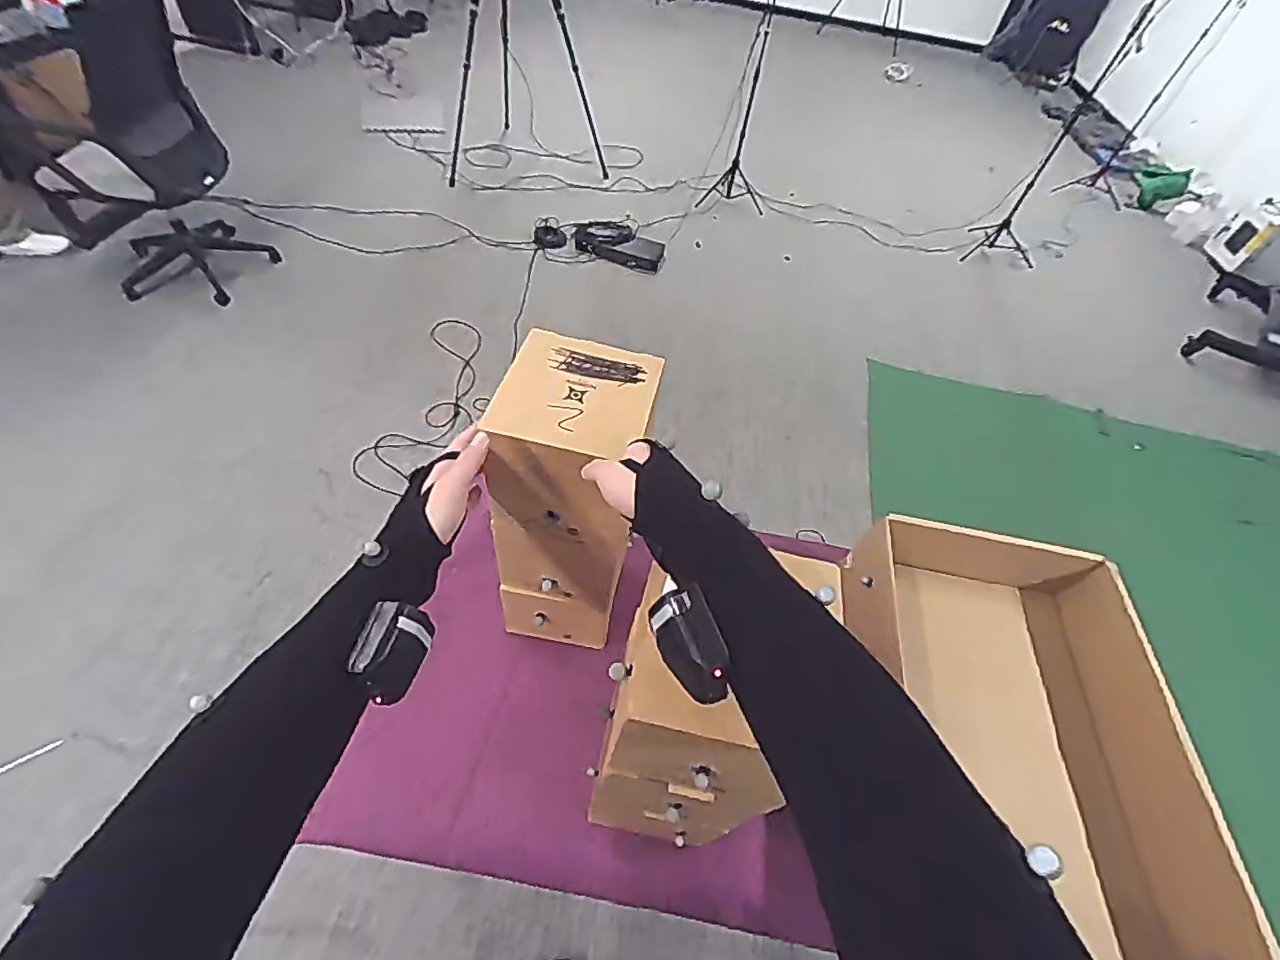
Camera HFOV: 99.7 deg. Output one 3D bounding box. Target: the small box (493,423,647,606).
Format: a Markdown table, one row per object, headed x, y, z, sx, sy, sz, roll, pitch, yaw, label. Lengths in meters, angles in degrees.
| x | y | z | sx | sy | sz | roll | pitch | yaw | label |
| --- | --- | --- | --- | --- | --- | --- | --- | --- | --- |
| -0.096 | 0.052 | 0.778 | 0.168 | 0.176 | 0.179 | 14 | 51 | 3 | small box |

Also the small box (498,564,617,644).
| x | y | z | sx | sy | sz | roll | pitch | yaw | label |
| --- | --- | --- | --- | --- | --- | --- | --- | --- | --- |
| -0.123 | 0.154 | 0.904 | 0.168 | 0.176 | 0.179 | 11 | 51 | 0 | small box |

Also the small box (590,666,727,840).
| x | y | z | sx | sy | sz | roll | pitch | yaw | label |
| --- | --- | --- | --- | --- | --- | --- | --- | --- | --- |
| 0.029 | 0.377 | 0.750 | 0.168 | 0.176 | 0.179 | 13 | 50 | 1 | small box |

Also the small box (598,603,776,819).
| x | y | z | sx | sy | sz | roll | pitch | yaw | label |
| --- | --- | --- | --- | --- | --- | --- | --- | --- | --- |
| 0.049 | 0.272 | 0.626 | 0.168 | 0.176 | 0.179 | 13 | 51 | 1 | small box |
